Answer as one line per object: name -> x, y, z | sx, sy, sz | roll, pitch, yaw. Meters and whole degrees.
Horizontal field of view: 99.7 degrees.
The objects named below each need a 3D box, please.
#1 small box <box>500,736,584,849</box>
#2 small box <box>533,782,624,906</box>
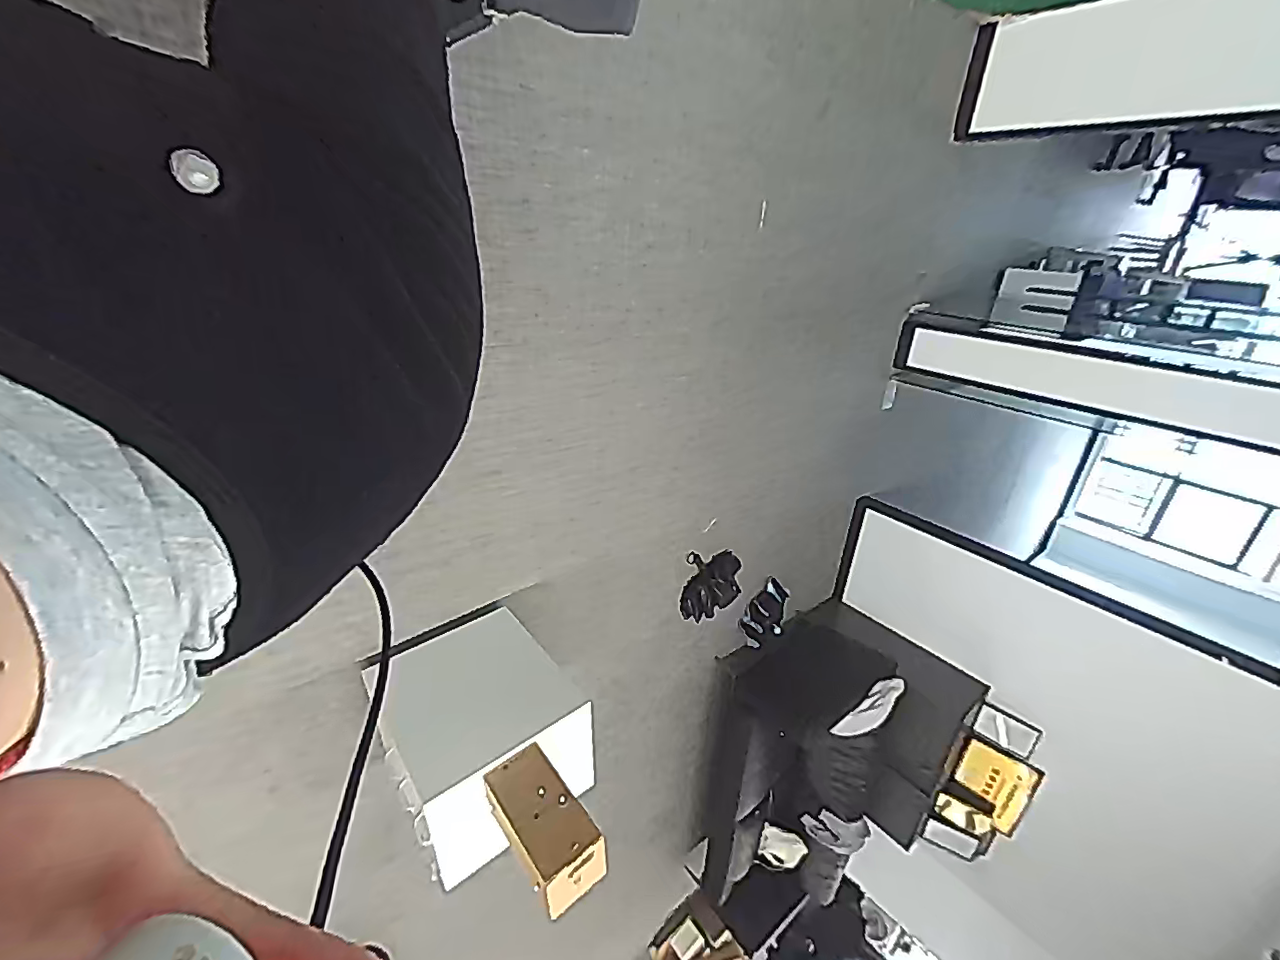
small box -> -0.263, 0.849, 1.483 | 0.168, 0.176, 0.179 | -25, 128, -33
small box -> -0.158, 0.909, 1.372 | 0.168, 0.176, 0.179 | -24, 128, -33
